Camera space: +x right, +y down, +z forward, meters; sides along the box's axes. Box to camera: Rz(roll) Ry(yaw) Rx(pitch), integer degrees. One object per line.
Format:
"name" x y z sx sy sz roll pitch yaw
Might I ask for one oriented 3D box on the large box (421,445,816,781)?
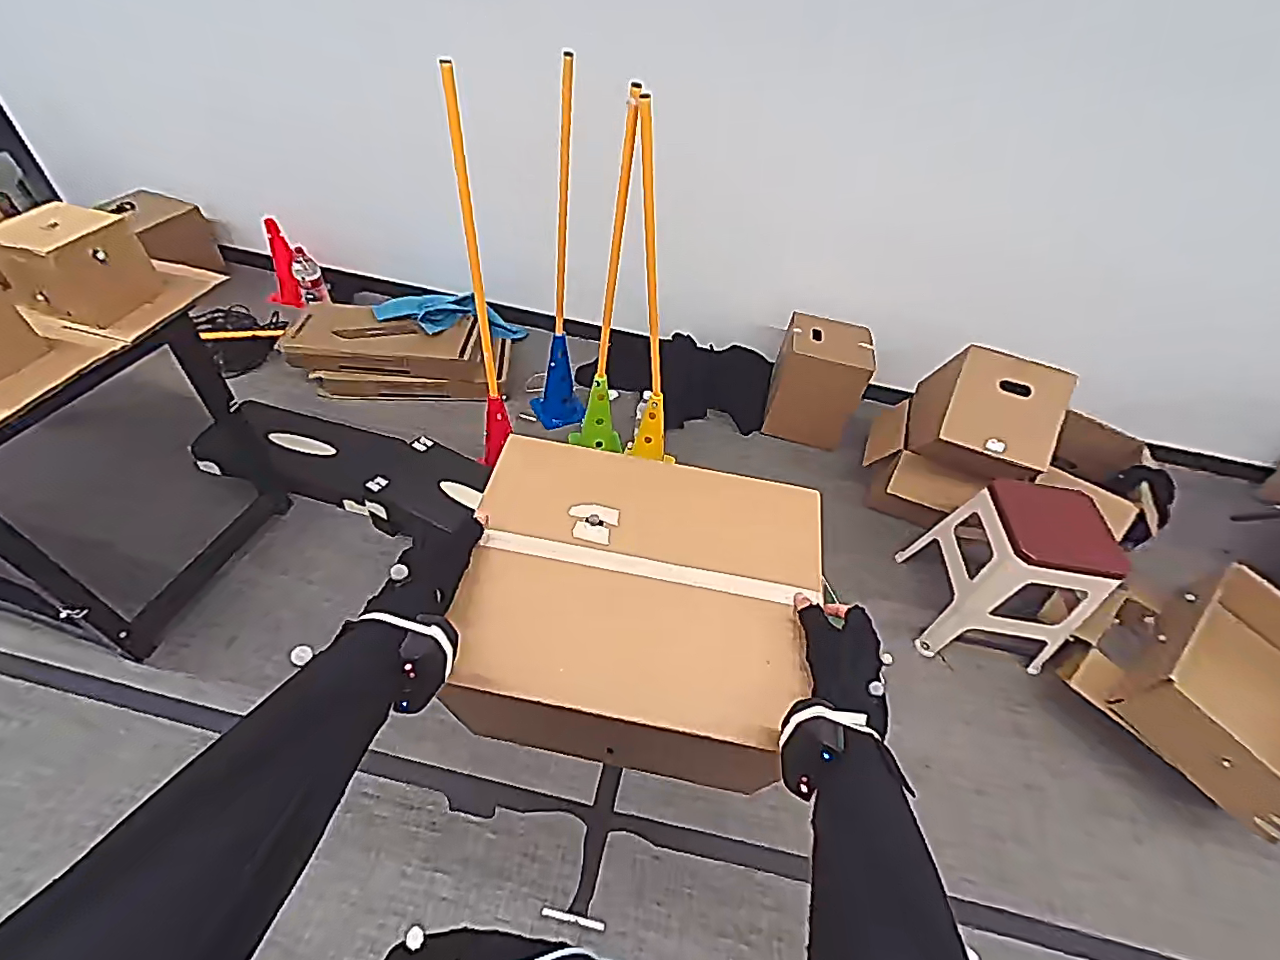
"large box" -0.008 0.193 0.737 0.408 0.320 0.320 10 54 3
